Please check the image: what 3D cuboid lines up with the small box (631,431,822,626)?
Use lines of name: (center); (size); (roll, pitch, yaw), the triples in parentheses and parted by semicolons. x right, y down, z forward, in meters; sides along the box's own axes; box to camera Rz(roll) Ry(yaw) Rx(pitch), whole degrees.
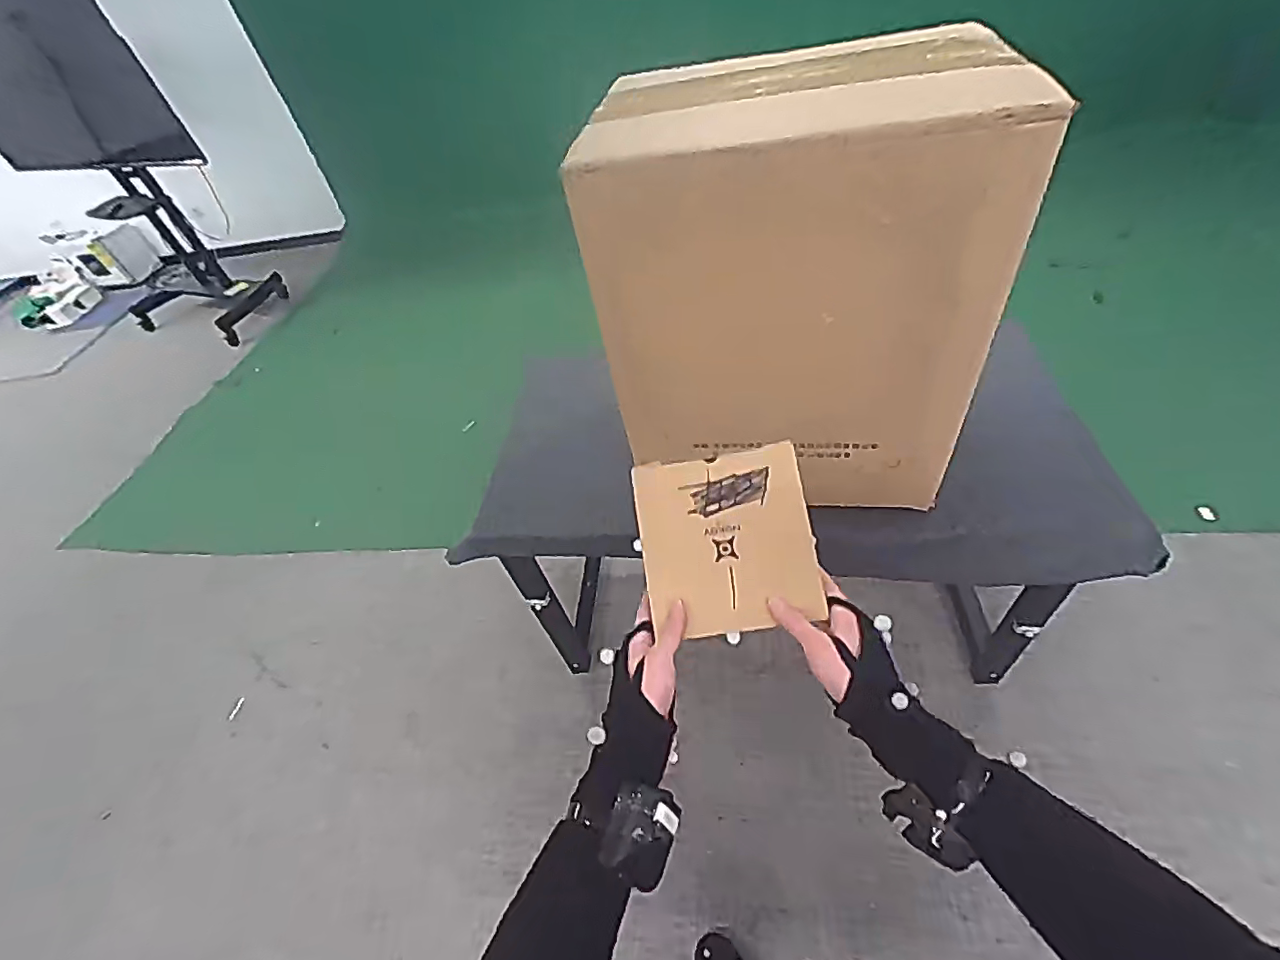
small box: (0.089, 0.062, 0.603); (0.168, 0.176, 0.179); (-9, 77, 6)
